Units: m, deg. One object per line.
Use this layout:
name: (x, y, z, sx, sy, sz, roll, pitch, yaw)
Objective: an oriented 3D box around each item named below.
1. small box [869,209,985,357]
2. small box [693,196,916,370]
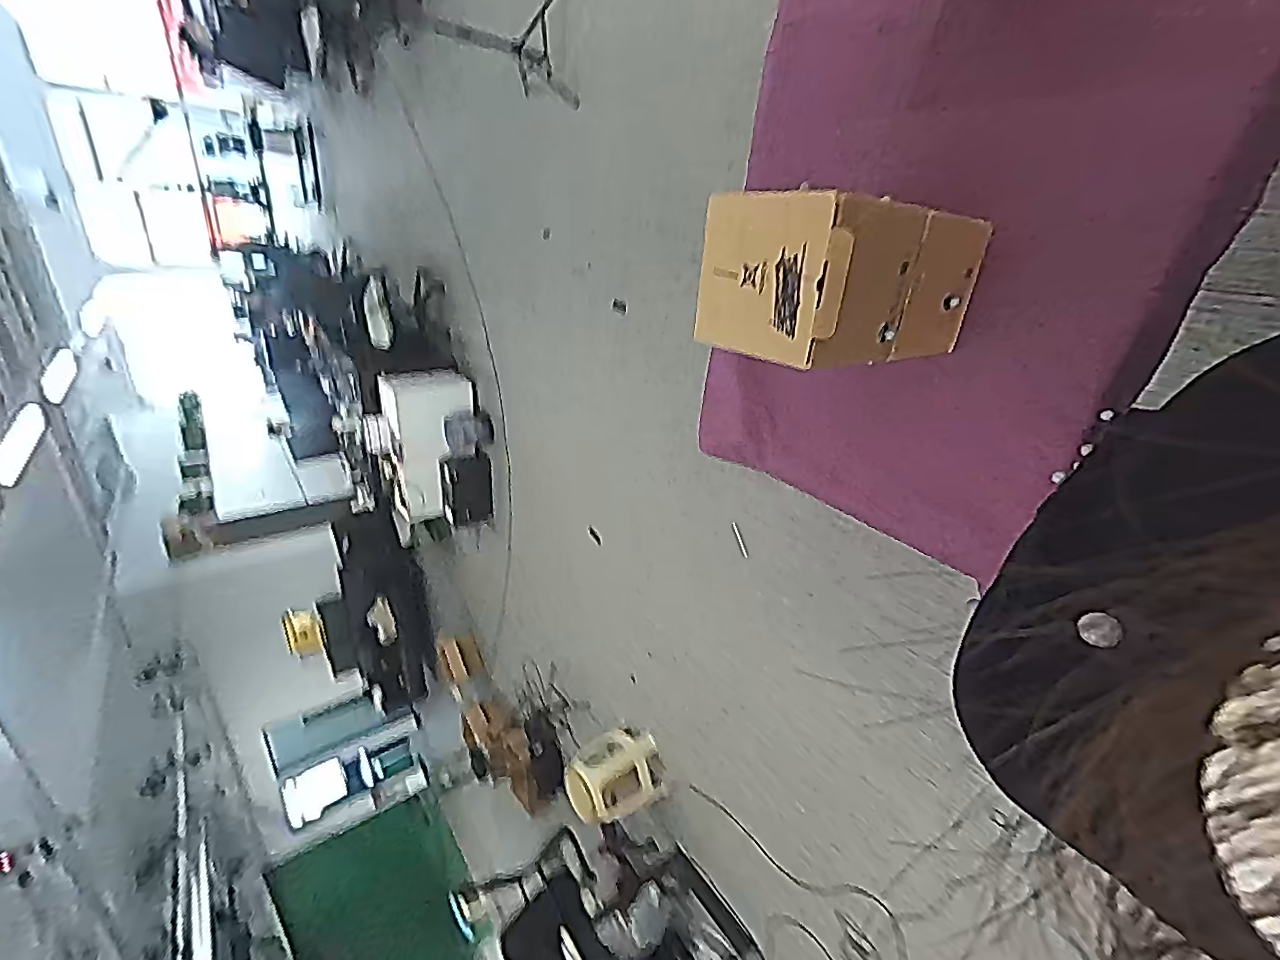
small box: (0.318, -0.268, 0.729, 0.179, 0.176, 0.168, 31, 125, 44)
small box: (0.188, -0.235, 0.634, 0.179, 0.176, 0.168, 30, 125, 45)
